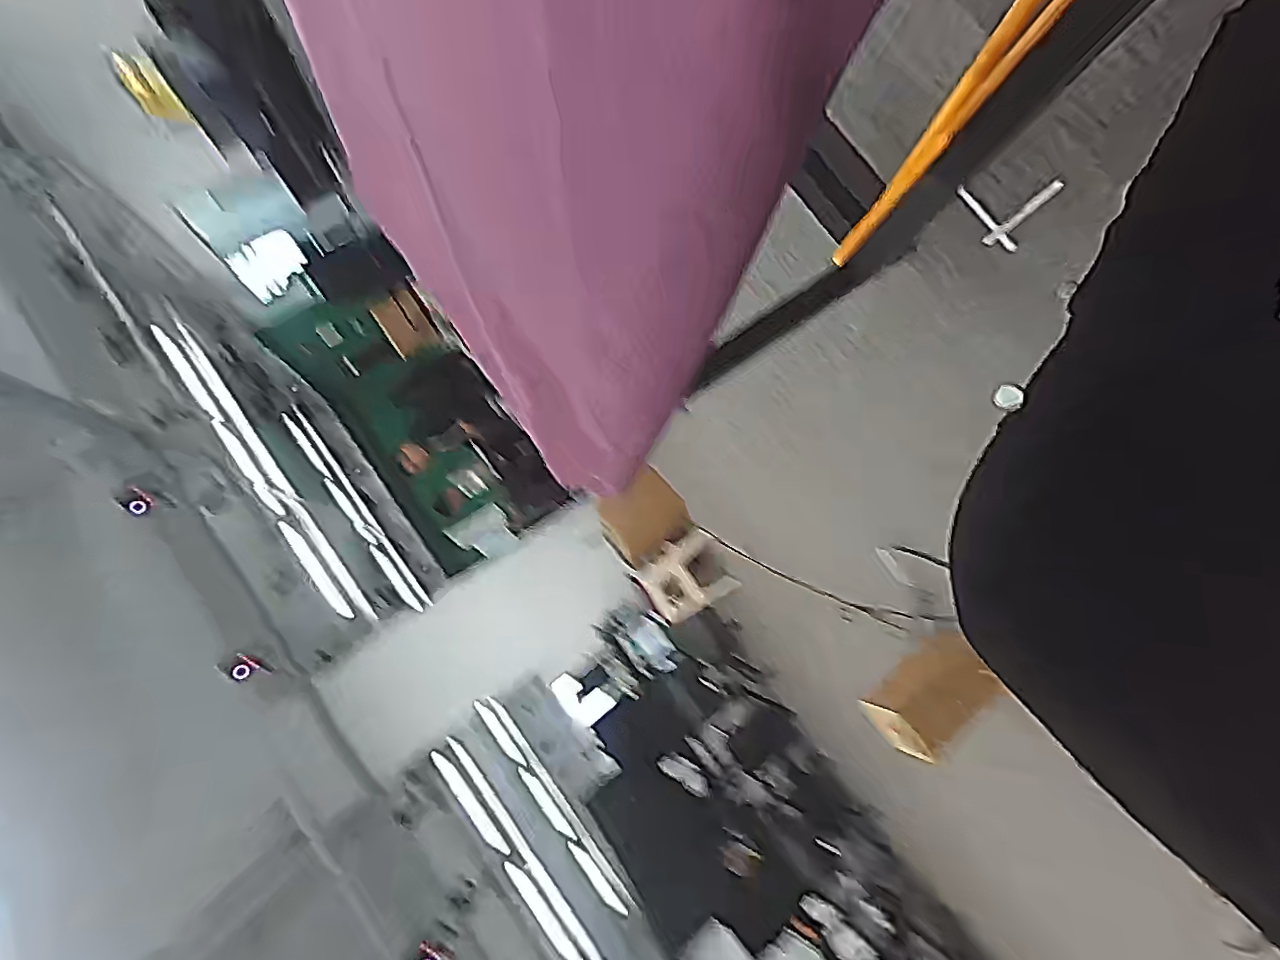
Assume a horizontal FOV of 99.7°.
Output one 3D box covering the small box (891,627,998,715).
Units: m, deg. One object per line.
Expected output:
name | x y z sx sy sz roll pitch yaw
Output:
small box | 0.884 0.545 1.572 0.168 0.176 0.179 54 164 5
